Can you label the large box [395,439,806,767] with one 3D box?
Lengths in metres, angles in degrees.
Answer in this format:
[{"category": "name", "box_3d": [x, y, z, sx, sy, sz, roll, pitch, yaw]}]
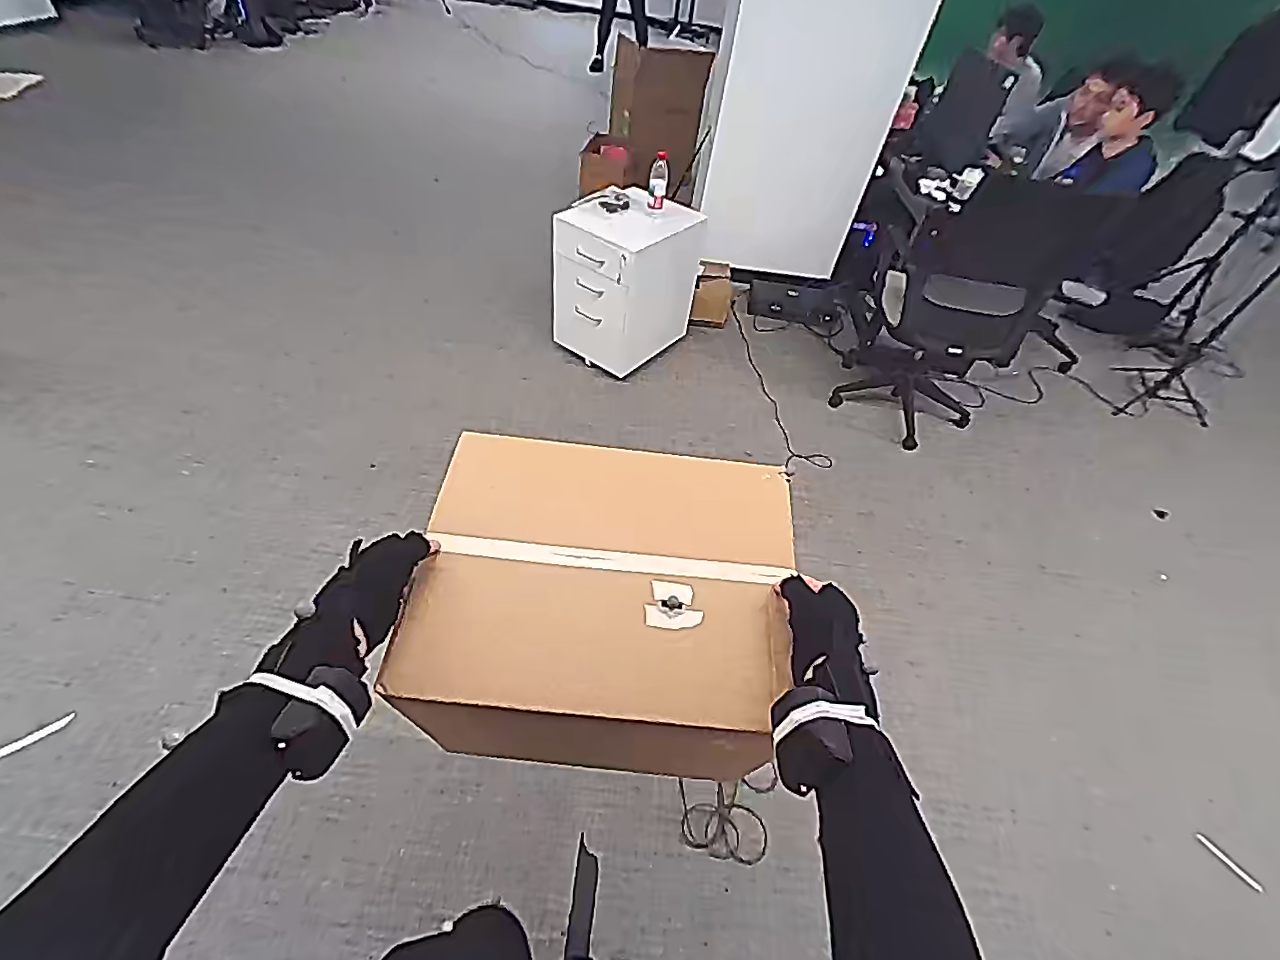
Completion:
[{"category": "large box", "box_3d": [-0.042, 0.176, 0.720, 0.408, 0.320, 0.320, 6, 55, -2]}]
